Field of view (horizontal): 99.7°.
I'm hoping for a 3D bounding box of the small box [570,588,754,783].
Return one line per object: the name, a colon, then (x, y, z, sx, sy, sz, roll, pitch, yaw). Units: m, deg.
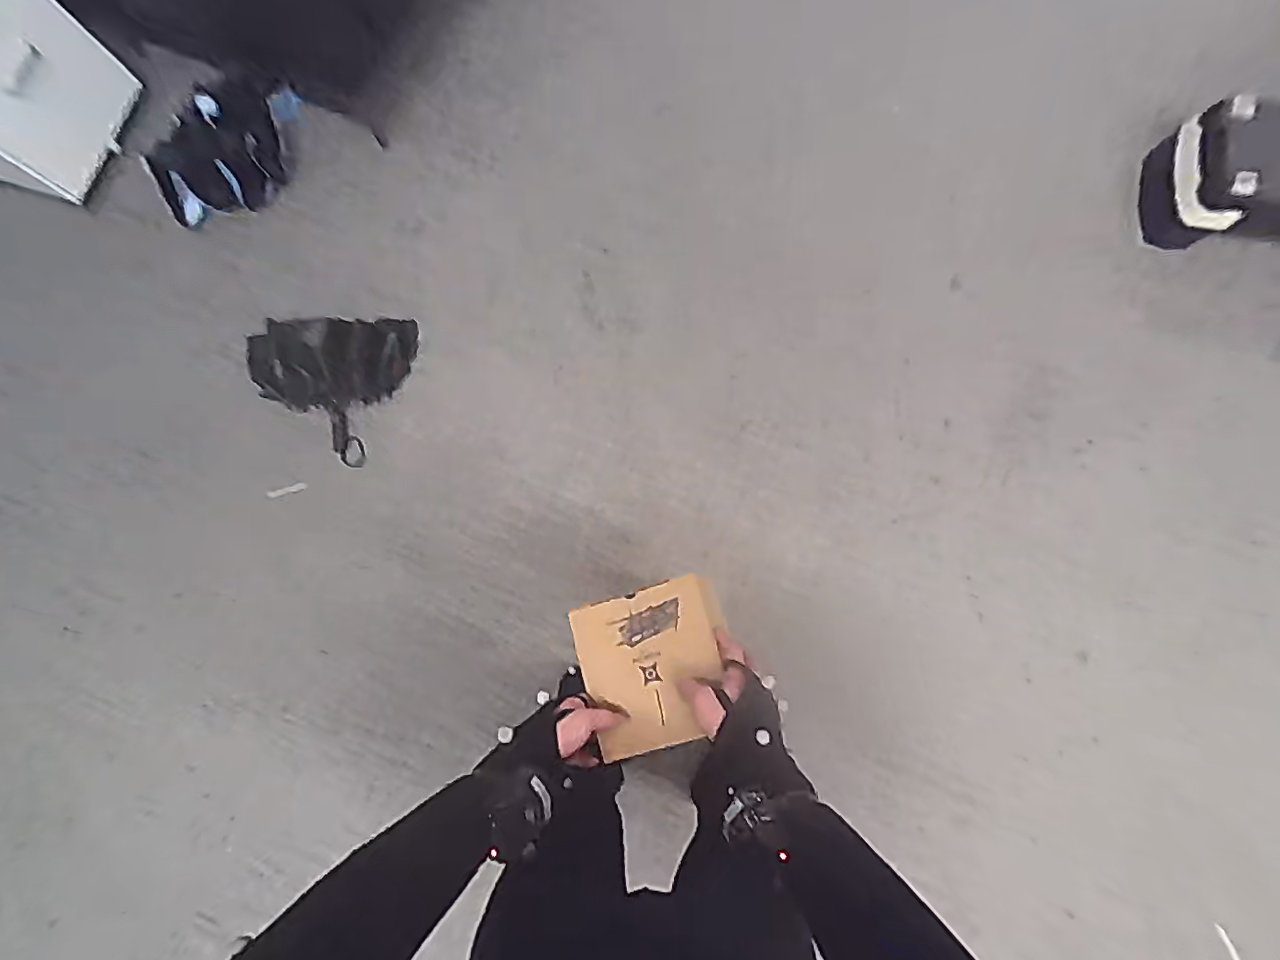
small box: (0.034, 0.248, 0.680, 0.168, 0.176, 0.179, -21, 72, 11)
